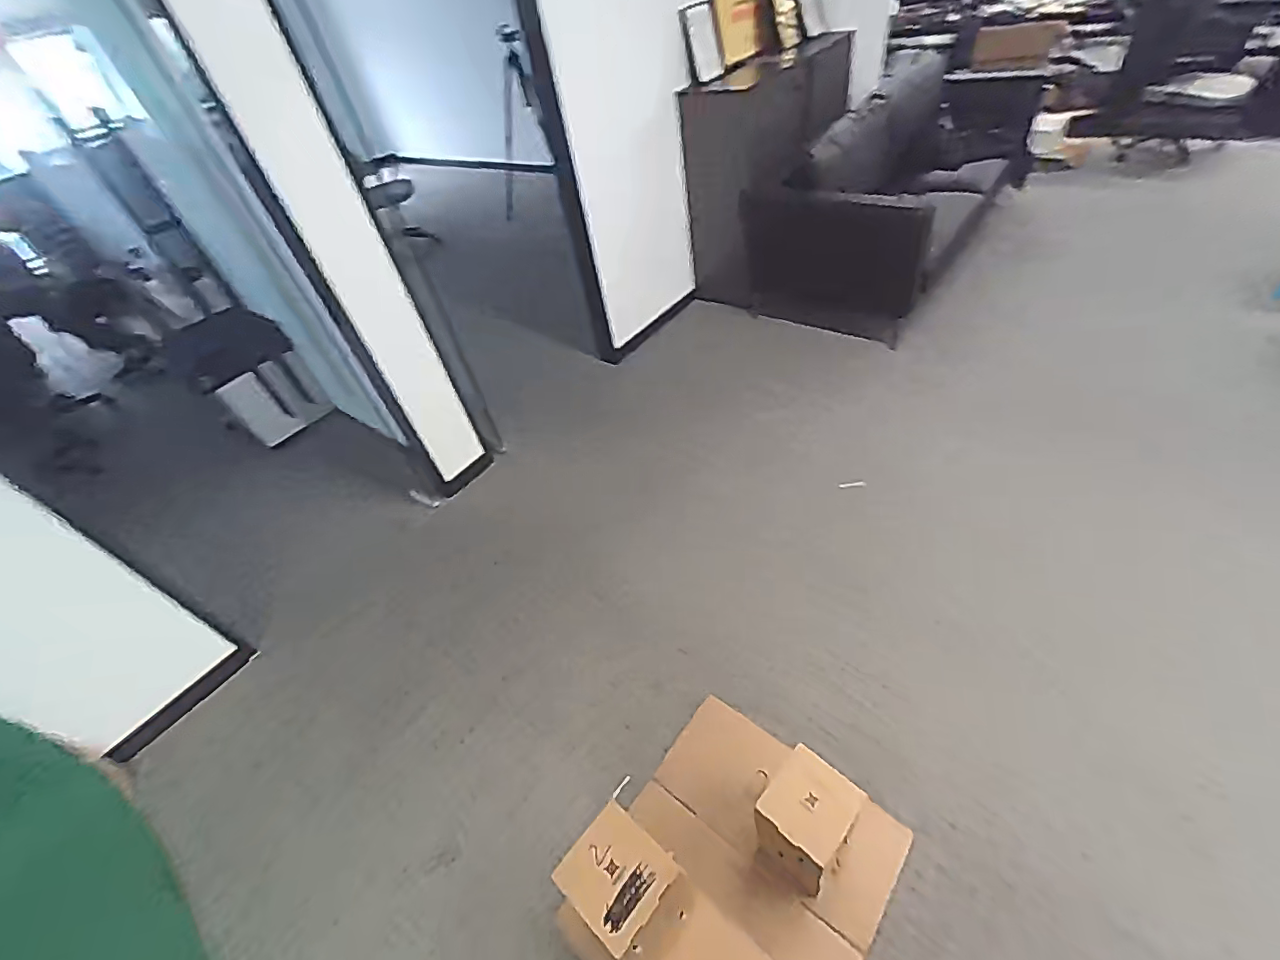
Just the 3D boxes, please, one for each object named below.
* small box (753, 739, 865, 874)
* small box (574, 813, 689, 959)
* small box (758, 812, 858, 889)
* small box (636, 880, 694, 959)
[{"bbox_3d":[0.369,0.719,1.188,0.168,0.176,0.179,31,59,35],"label":"small box"},{"bbox_3d":[-0.010,0.854,1.139,0.168,0.176,0.179,27,57,32],"label":"small box"},{"bbox_3d":[0.398,0.833,1.301,0.168,0.176,0.179,27,57,34],"label":"small box"},{"bbox_3d":[0.011,0.970,1.248,0.168,0.176,0.179,26,56,33],"label":"small box"}]
